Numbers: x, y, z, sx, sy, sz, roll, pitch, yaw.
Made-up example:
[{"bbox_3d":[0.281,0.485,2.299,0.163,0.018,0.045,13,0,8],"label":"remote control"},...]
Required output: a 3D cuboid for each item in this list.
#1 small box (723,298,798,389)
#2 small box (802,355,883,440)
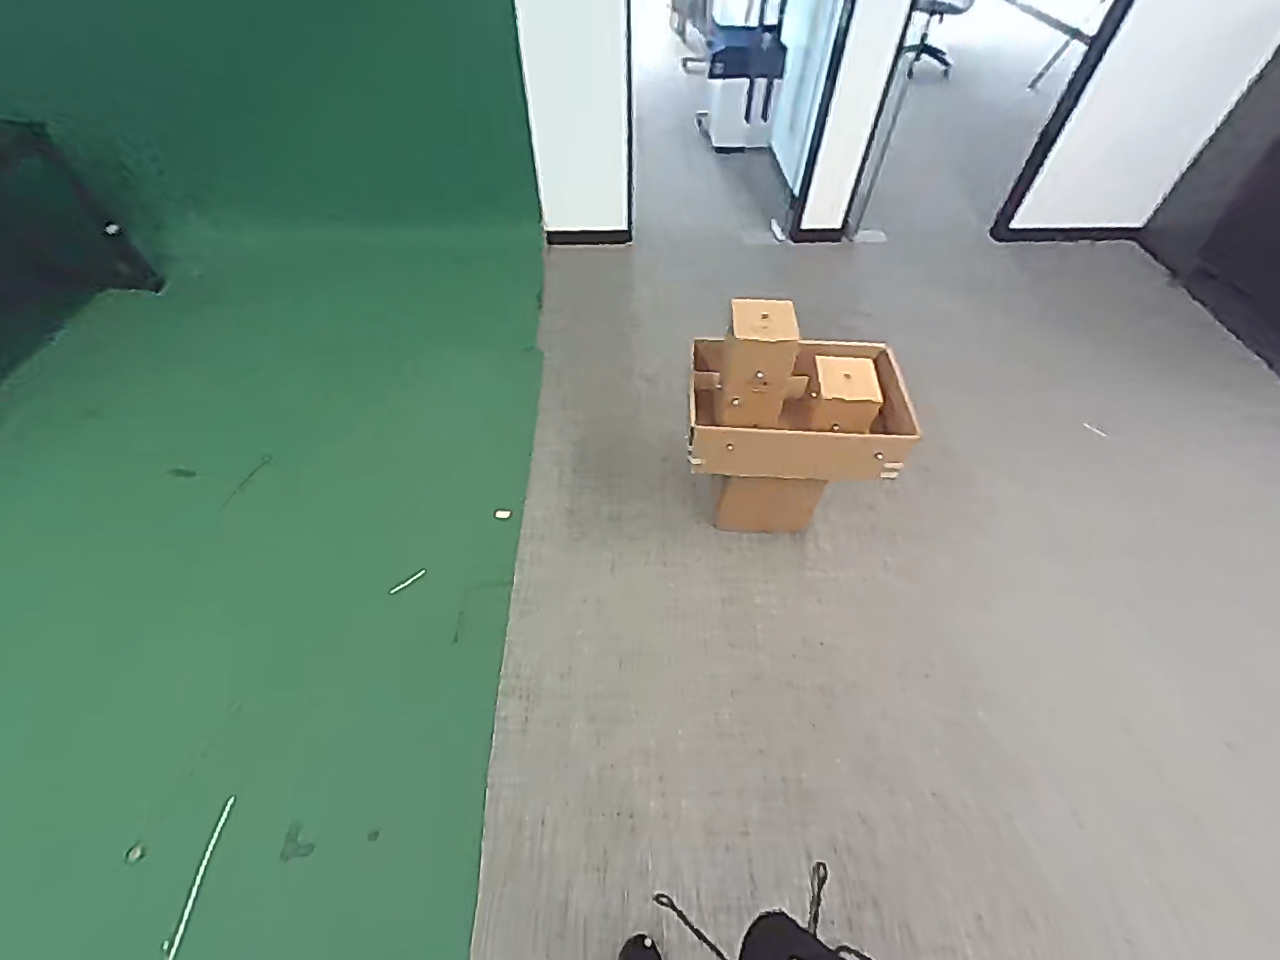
[{"bbox_3d":[0.320,-0.371,1.471,0.168,0.176,0.179,2,52,2],"label":"small box"},{"bbox_3d":[0.583,-0.240,1.582,0.168,0.176,0.179,4,53,2],"label":"small box"}]
